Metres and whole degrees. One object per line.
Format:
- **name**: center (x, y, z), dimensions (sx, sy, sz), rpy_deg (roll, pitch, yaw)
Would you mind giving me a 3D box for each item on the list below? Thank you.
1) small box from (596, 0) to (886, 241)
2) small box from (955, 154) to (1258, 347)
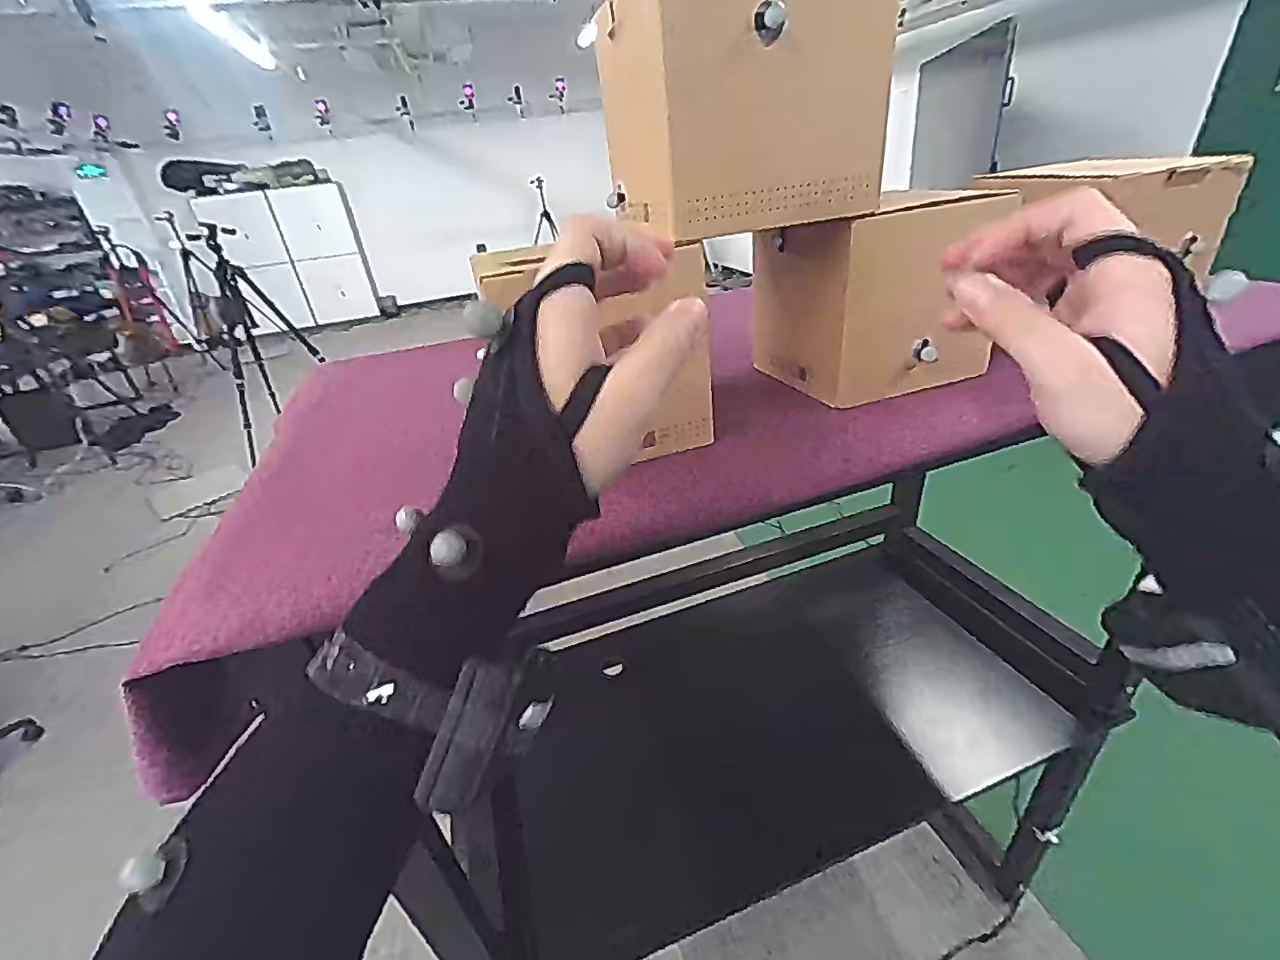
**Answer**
- **small box**: center (0.076, -0.295, 0.436), dimensions (0.179, 0.176, 0.168), rpy_deg (-13, 30, -12)
- **small box**: center (0.497, -0.257, 0.610), dimensions (0.168, 0.176, 0.179), rpy_deg (-12, 30, -9)
